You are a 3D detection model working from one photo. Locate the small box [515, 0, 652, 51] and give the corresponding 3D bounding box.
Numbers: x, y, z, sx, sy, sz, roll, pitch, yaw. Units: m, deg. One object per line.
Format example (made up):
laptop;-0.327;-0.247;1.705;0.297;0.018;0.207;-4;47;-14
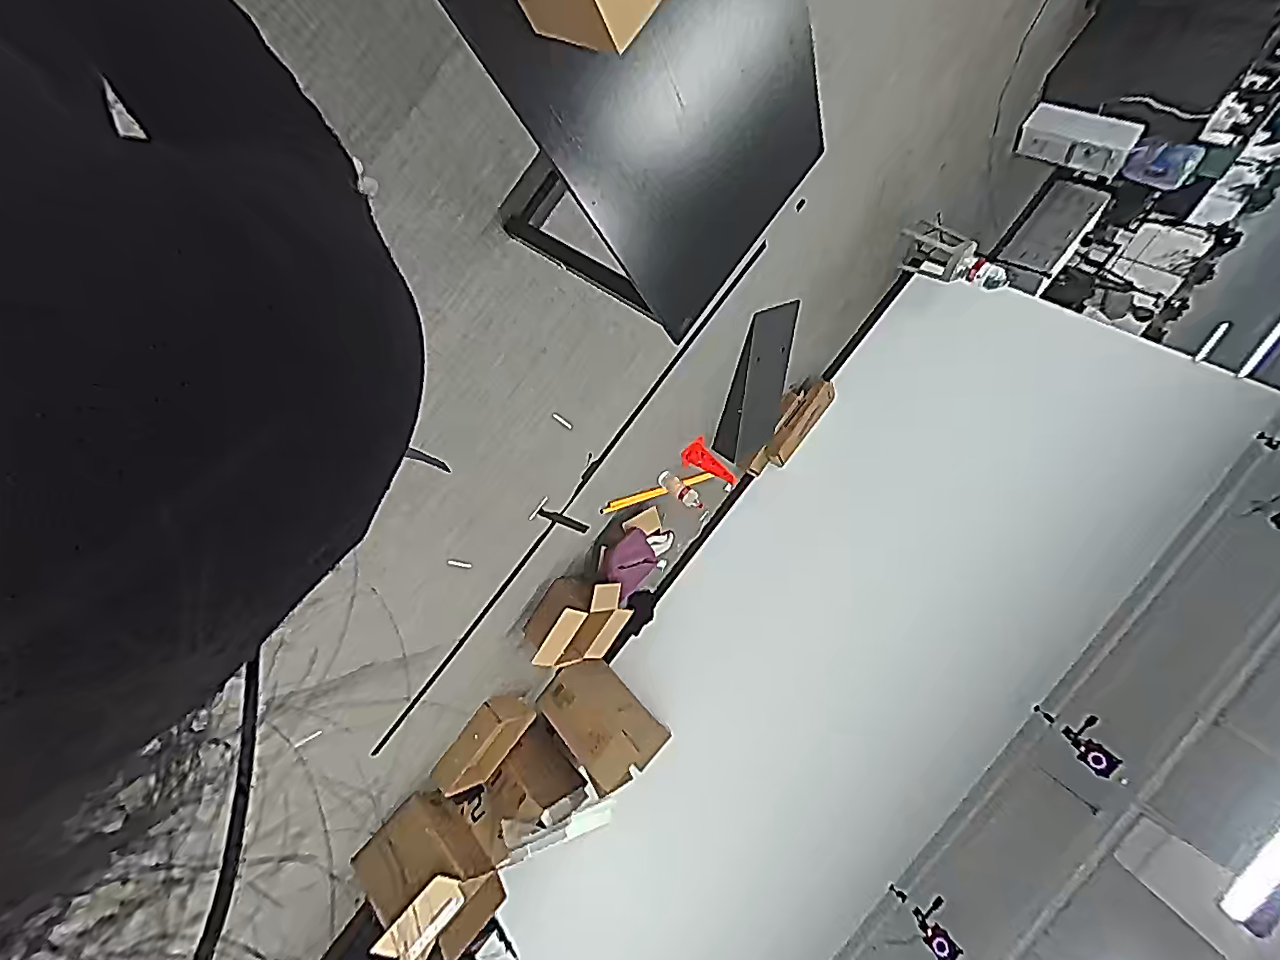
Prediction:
small box;-0.071;-0.640;0.608;0.179;0.176;0.168;-54;153;2
